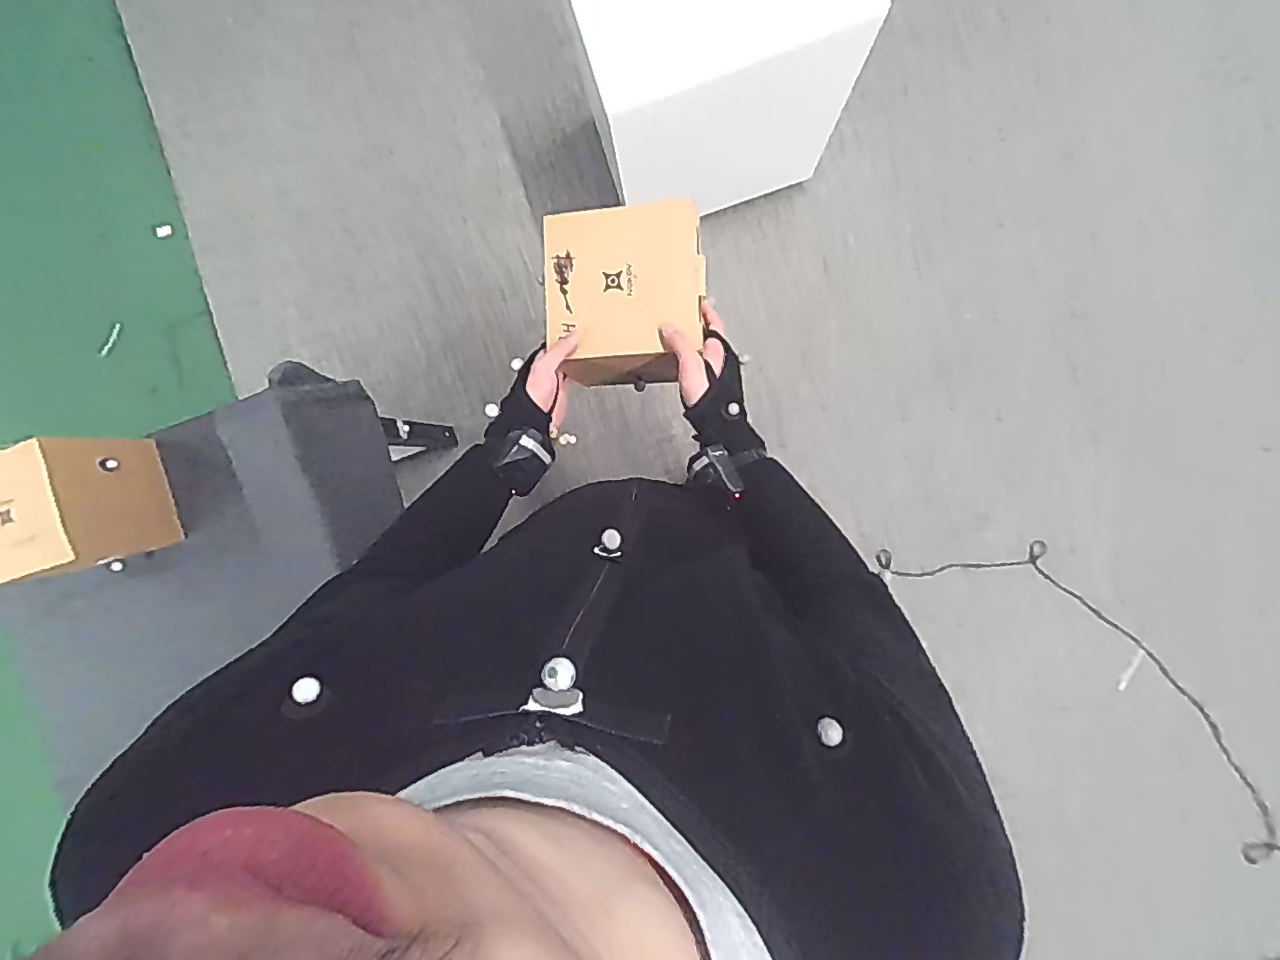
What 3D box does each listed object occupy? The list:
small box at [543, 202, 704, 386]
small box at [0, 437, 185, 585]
[{"bbox_3d":[-0.012,-0.214,0.667,0.179,0.176,0.168,-1,88,7],"label":"small box"},{"bbox_3d":[-0.850,0.043,0.814,0.168,0.176,0.179,-17,92,6],"label":"small box"}]
